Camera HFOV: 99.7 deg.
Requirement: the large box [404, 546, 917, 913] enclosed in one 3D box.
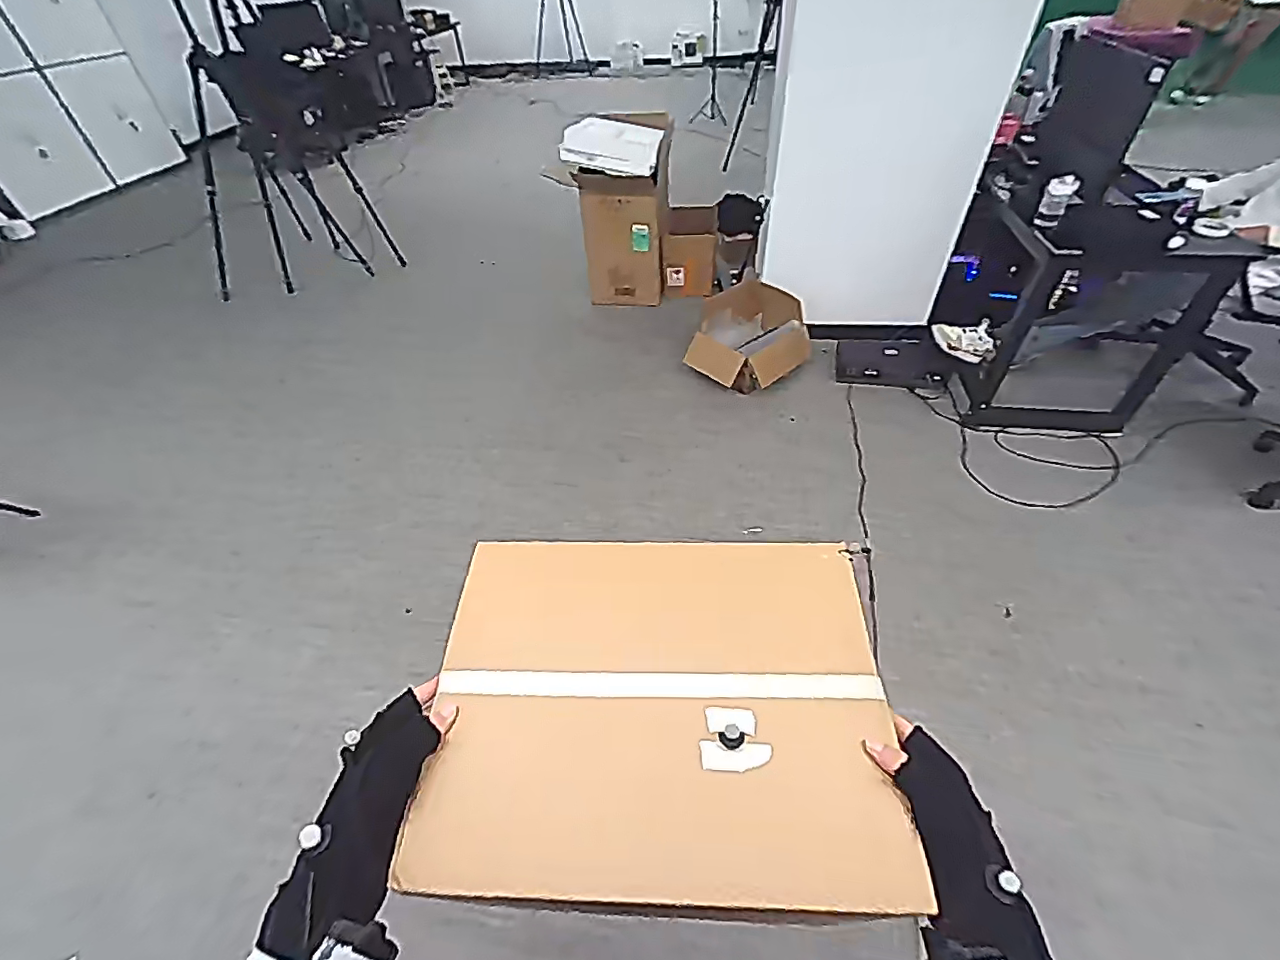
[{"bbox_3d":[0.020,0.289,0.620,0.408,0.320,0.320,0,50,3],"label":"large box"}]
